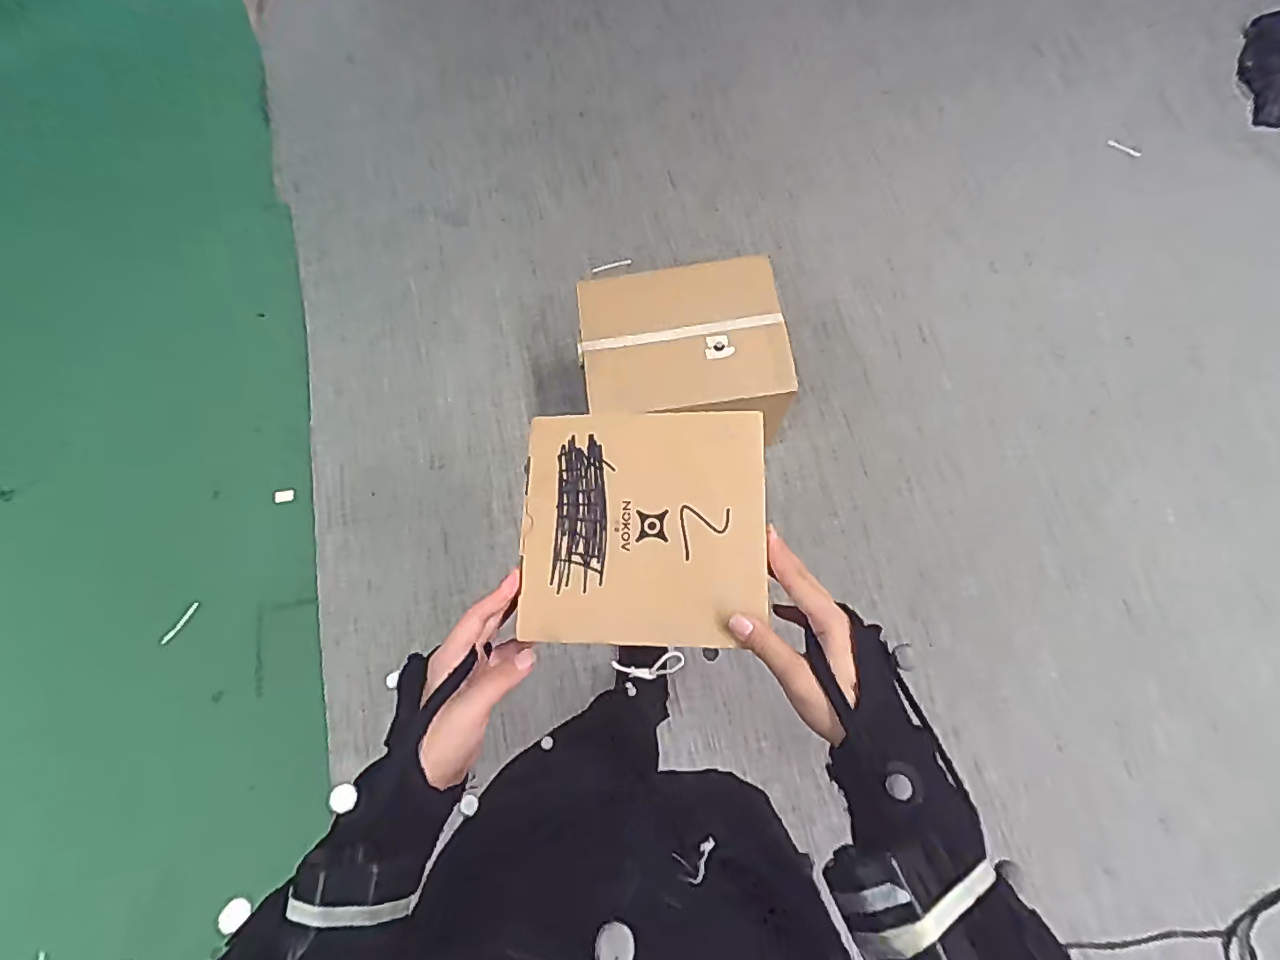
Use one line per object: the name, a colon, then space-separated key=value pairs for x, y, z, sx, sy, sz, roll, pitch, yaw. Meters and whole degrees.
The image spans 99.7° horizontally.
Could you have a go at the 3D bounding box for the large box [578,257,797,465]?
large box: x=0.094 y=-0.247 z=1.217 sx=0.408 sy=0.320 sz=0.320 roll=-8 pitch=74 yaw=1
